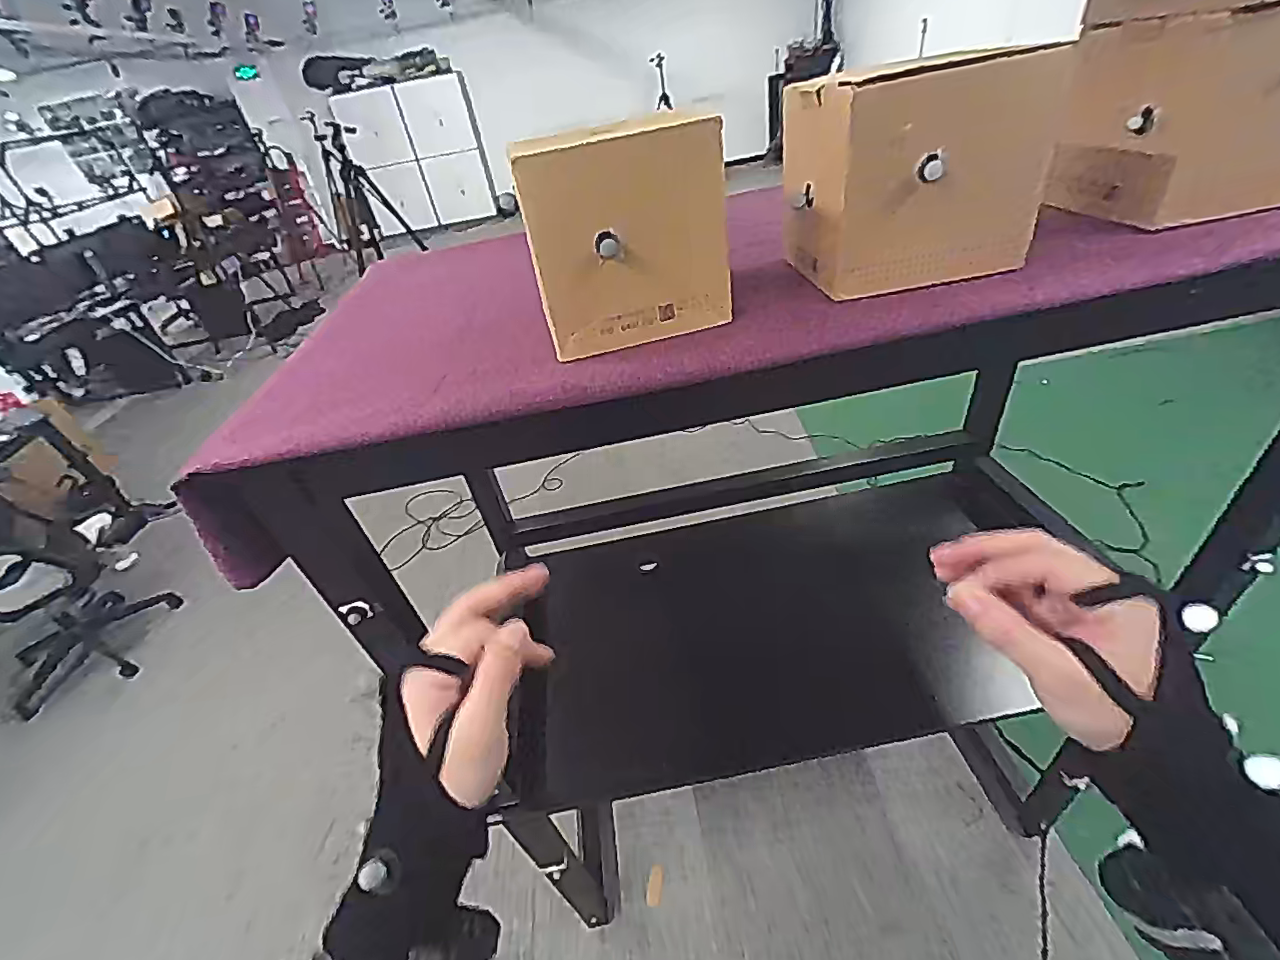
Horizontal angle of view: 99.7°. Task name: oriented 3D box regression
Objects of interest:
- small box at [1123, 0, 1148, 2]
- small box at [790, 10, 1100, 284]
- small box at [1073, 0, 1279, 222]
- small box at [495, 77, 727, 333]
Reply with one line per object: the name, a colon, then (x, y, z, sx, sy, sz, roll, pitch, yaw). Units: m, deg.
small box: (0.522, -0.476, 0.395, 0.179, 0.176, 0.168, -13, 38, -1)
small box: (0.243, -0.291, 0.487, 0.179, 0.176, 0.168, -9, 38, 2)
small box: (0.547, -0.351, 0.497, 0.179, 0.176, 0.168, -8, 38, 3)
small box: (-0.024, -0.247, 0.492, 0.168, 0.176, 0.179, -13, 37, -4)
